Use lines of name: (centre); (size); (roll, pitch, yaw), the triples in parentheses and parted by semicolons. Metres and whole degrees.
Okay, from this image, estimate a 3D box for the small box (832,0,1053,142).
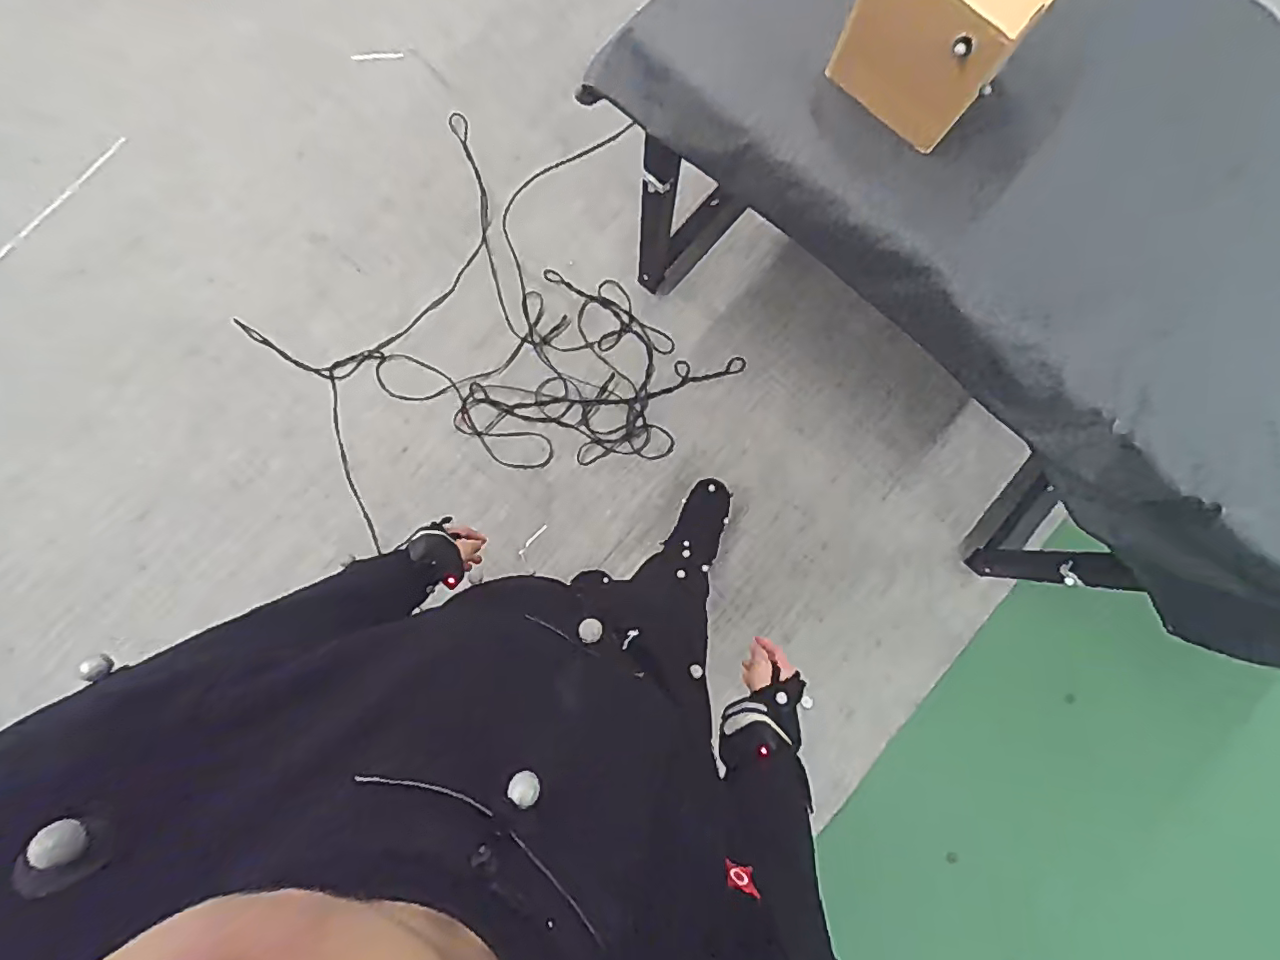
small box: (0.362, -0.554, 0.636); (0.179, 0.176, 0.168); (40, 84, 2)
